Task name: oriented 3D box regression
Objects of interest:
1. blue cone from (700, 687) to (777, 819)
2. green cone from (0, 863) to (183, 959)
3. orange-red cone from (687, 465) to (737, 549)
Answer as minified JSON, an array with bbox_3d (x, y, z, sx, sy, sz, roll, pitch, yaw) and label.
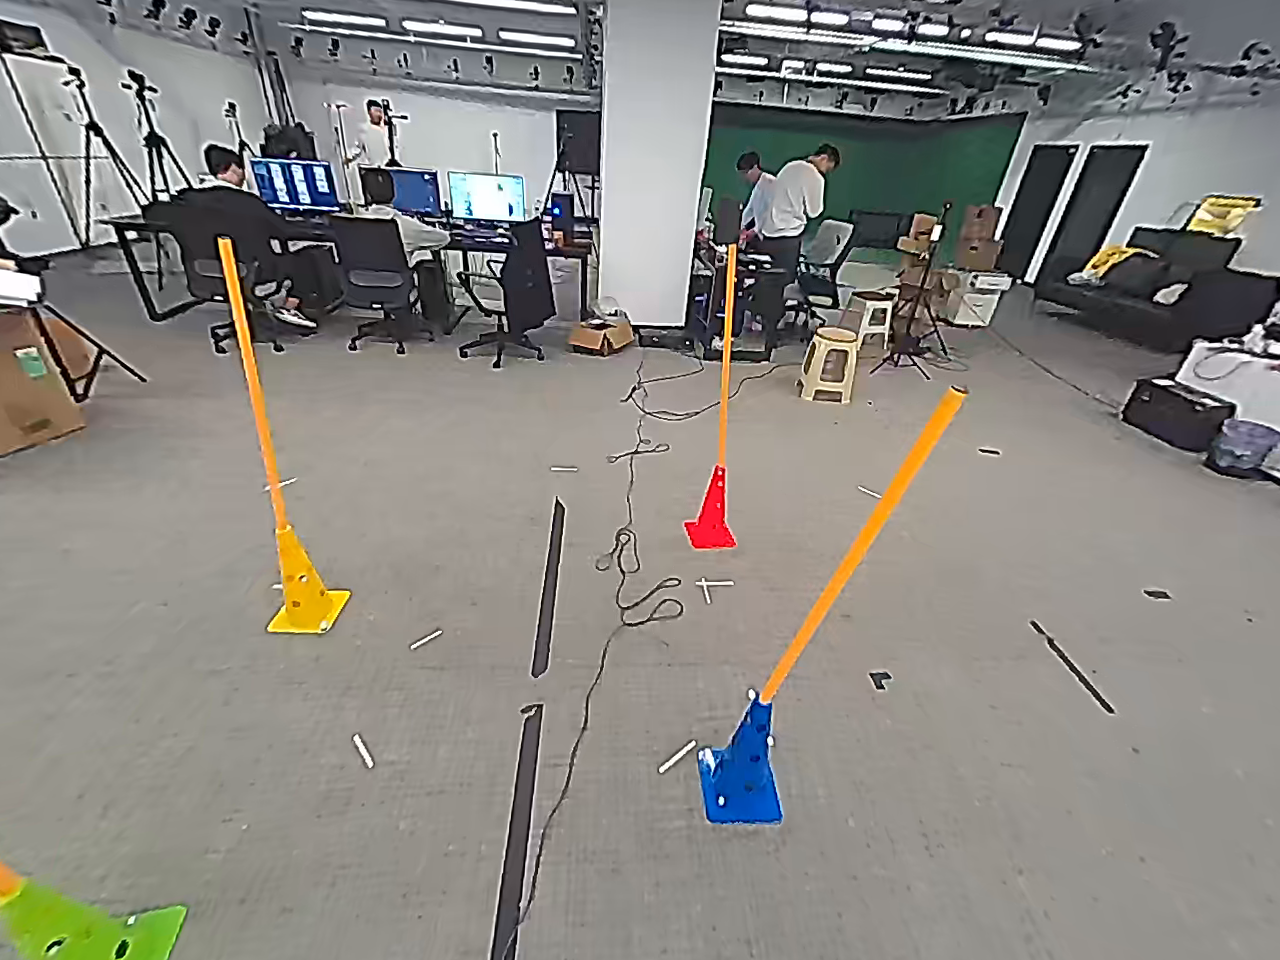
[{"bbox_3d":[0.275,0.672,1.371,0.193,0.380,0.192,3,30,-3],"label":"blue cone"},{"bbox_3d":[-1.019,0.800,0.956,0.200,0.368,0.202,-4,29,-14],"label":"green cone"},{"bbox_3d":[0.327,0.100,2.321,0.199,0.360,0.198,-2,31,-9],"label":"orange-red cone"}]
